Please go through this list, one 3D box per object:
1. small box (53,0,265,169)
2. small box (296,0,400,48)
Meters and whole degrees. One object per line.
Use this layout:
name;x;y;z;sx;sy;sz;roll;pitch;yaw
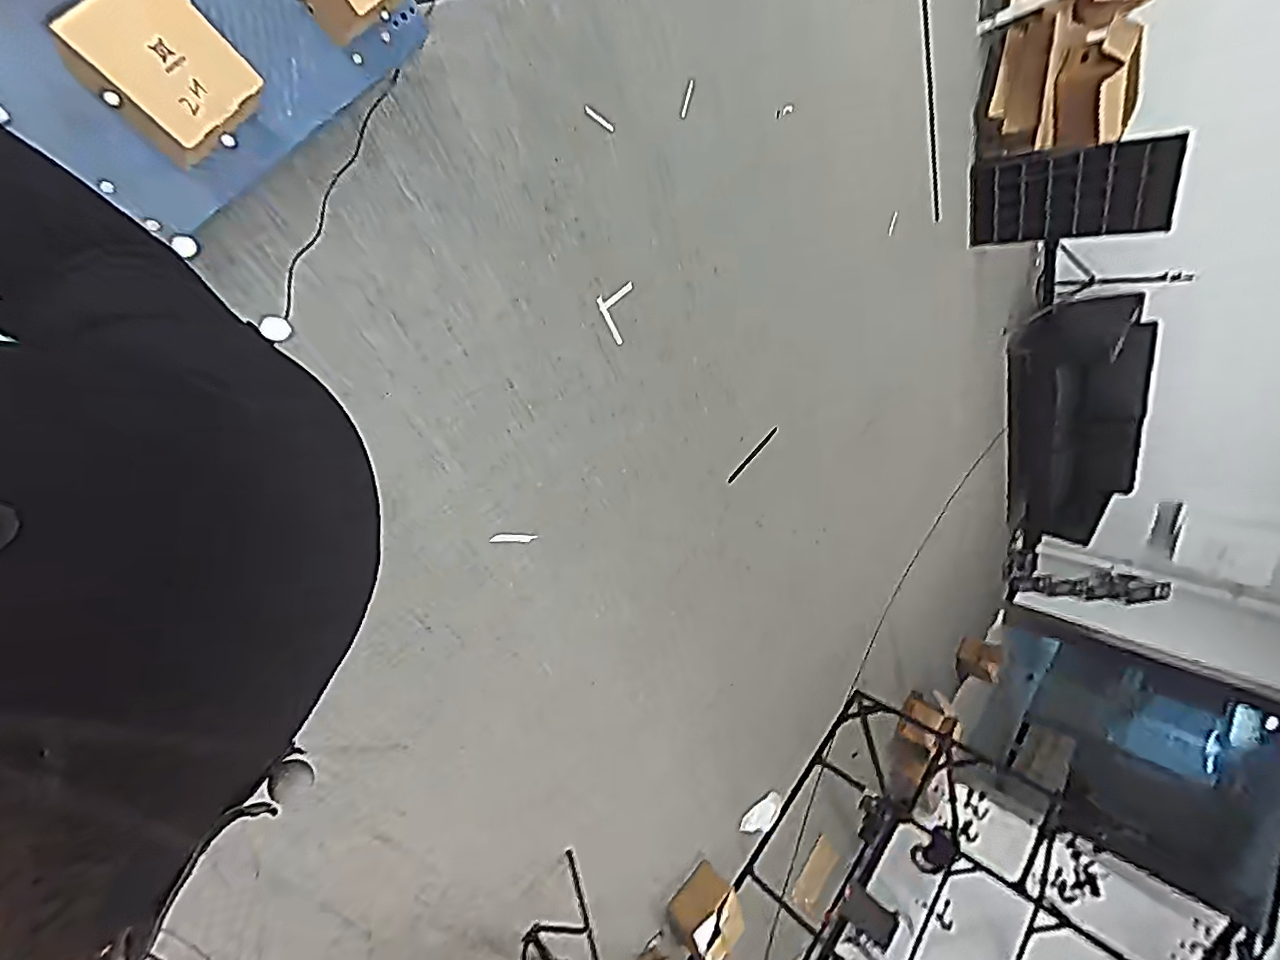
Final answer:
small box;-0.734;-0.623;0.839;0.168;0.176;0.179;-56;131;-14
small box;-0.520;-0.914;0.947;0.179;0.176;0.168;-53;131;-15
